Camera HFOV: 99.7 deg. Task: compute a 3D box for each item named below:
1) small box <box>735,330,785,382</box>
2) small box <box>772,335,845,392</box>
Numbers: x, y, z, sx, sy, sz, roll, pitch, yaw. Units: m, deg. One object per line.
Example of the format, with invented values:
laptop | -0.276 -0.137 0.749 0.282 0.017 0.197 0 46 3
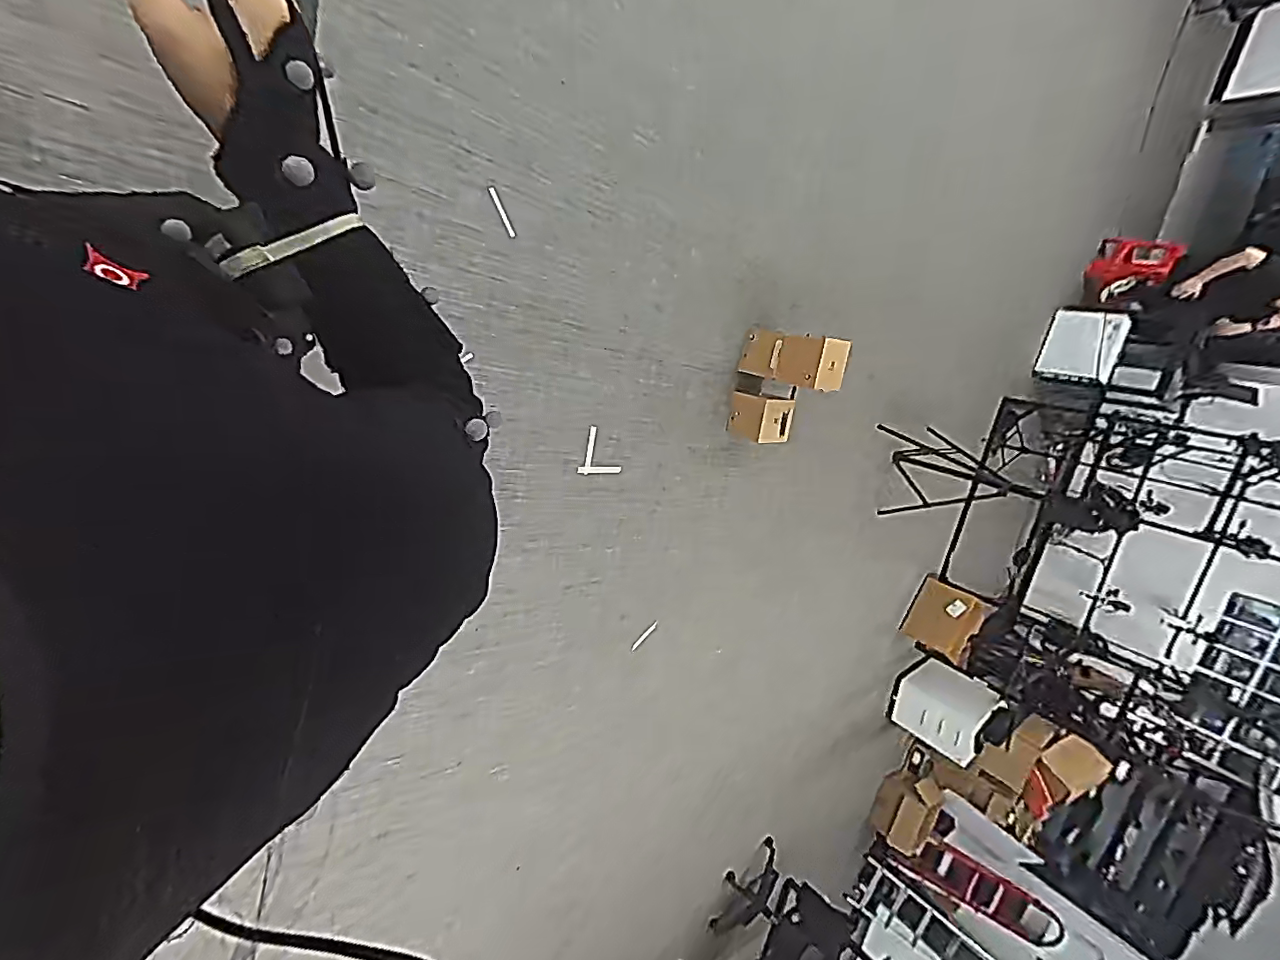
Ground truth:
small box | 0.485 -0.462 2.035 0.179 0.176 0.168 4 105 -42
small box | 0.593 -0.416 1.922 0.168 0.176 0.179 -5 111 -40
